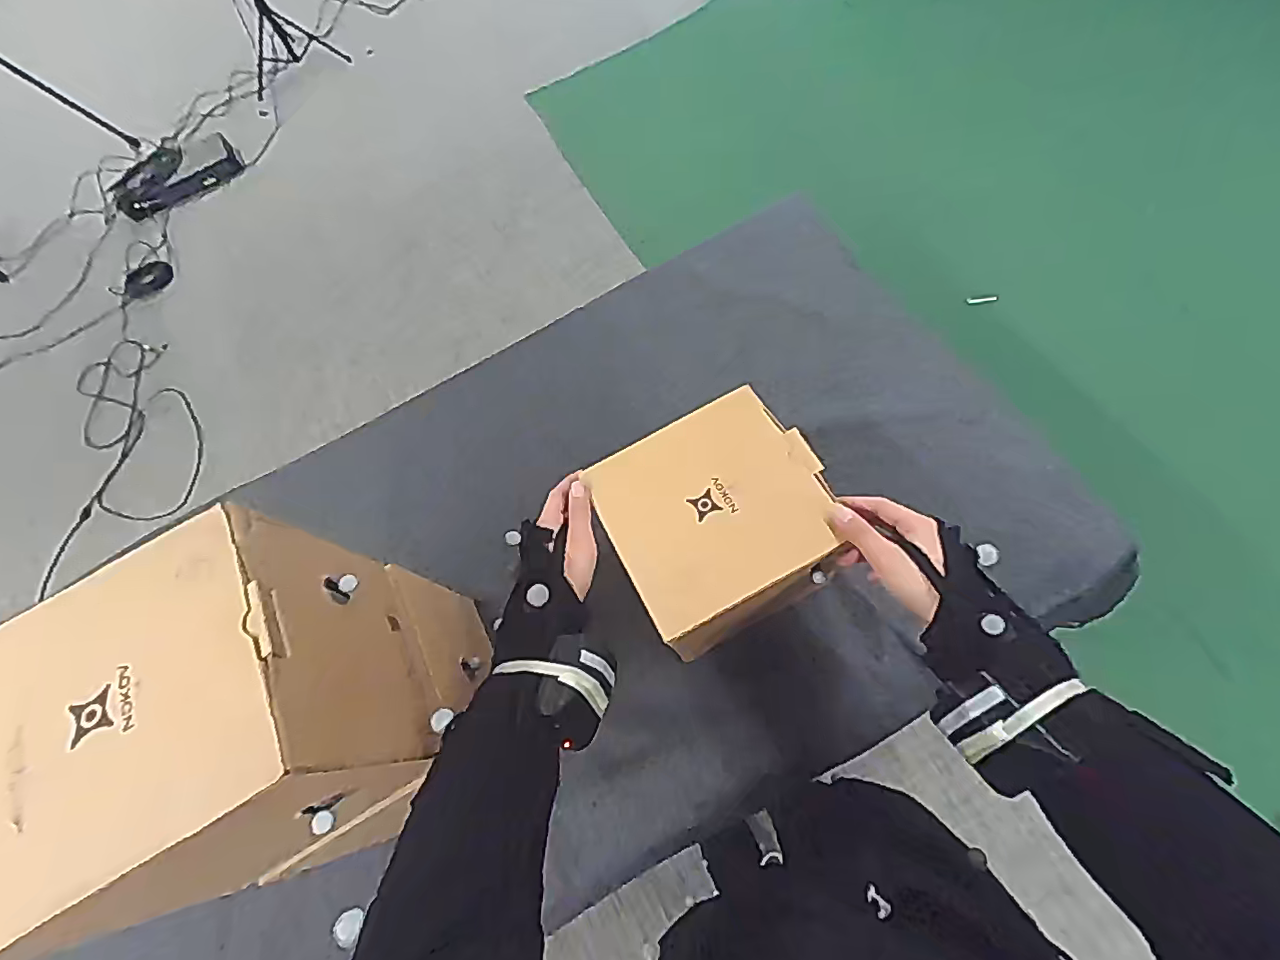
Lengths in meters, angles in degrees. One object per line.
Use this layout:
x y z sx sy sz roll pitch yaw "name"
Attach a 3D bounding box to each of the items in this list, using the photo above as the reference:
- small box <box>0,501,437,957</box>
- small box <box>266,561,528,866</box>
-0.259 0.146 0.354 0.179 0.176 0.168 -32 64 -4 "small box"
-0.230 0.207 0.502 0.168 0.176 0.179 -30 66 -4 "small box"
